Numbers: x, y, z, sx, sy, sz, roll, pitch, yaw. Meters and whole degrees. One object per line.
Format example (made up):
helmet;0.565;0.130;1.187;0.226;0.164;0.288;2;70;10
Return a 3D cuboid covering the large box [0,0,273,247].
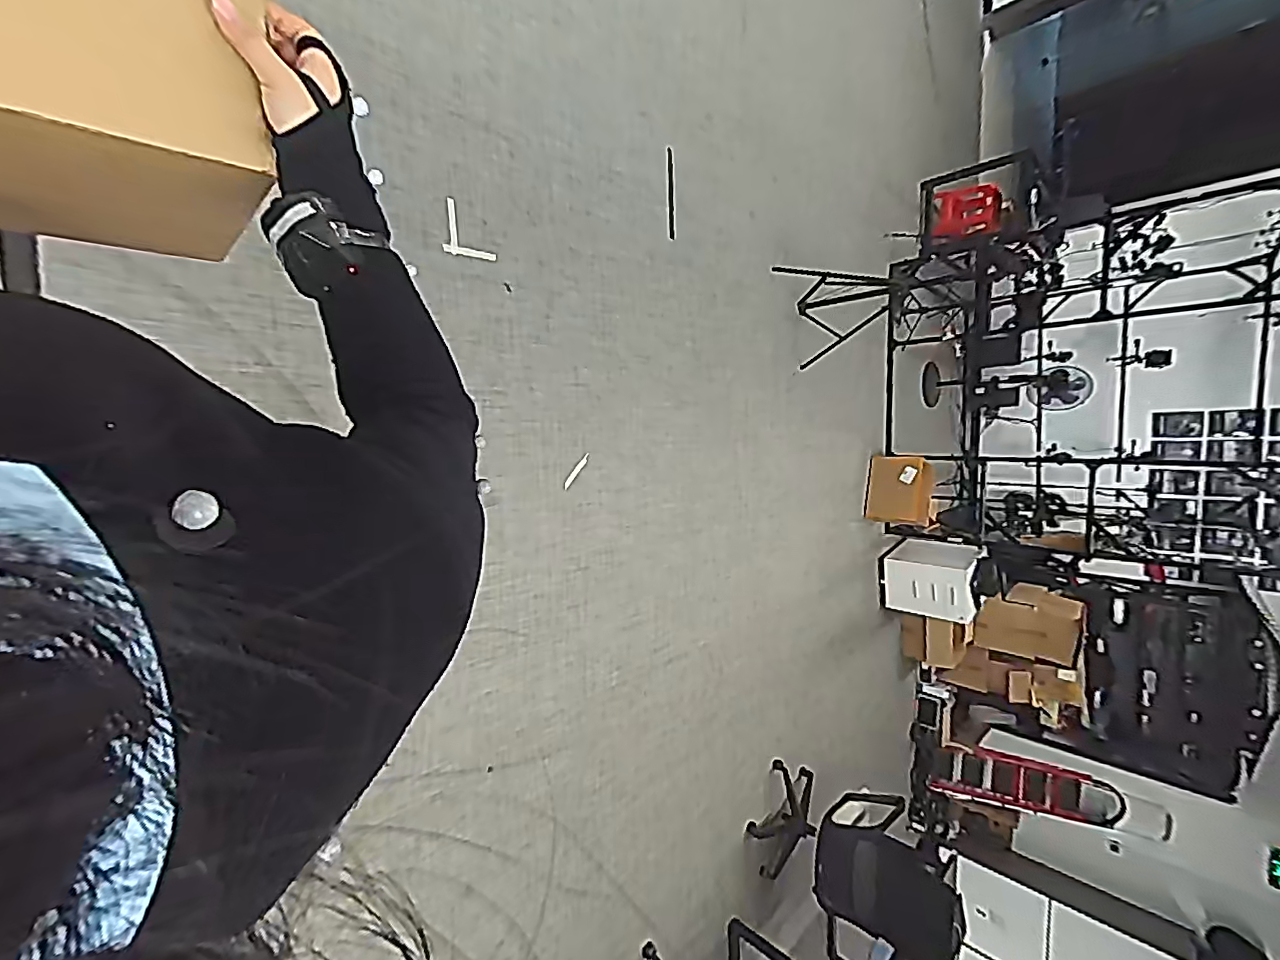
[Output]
large box;-0.540;-0.389;0.384;0.408;0.320;0.320;-7;98;-43
